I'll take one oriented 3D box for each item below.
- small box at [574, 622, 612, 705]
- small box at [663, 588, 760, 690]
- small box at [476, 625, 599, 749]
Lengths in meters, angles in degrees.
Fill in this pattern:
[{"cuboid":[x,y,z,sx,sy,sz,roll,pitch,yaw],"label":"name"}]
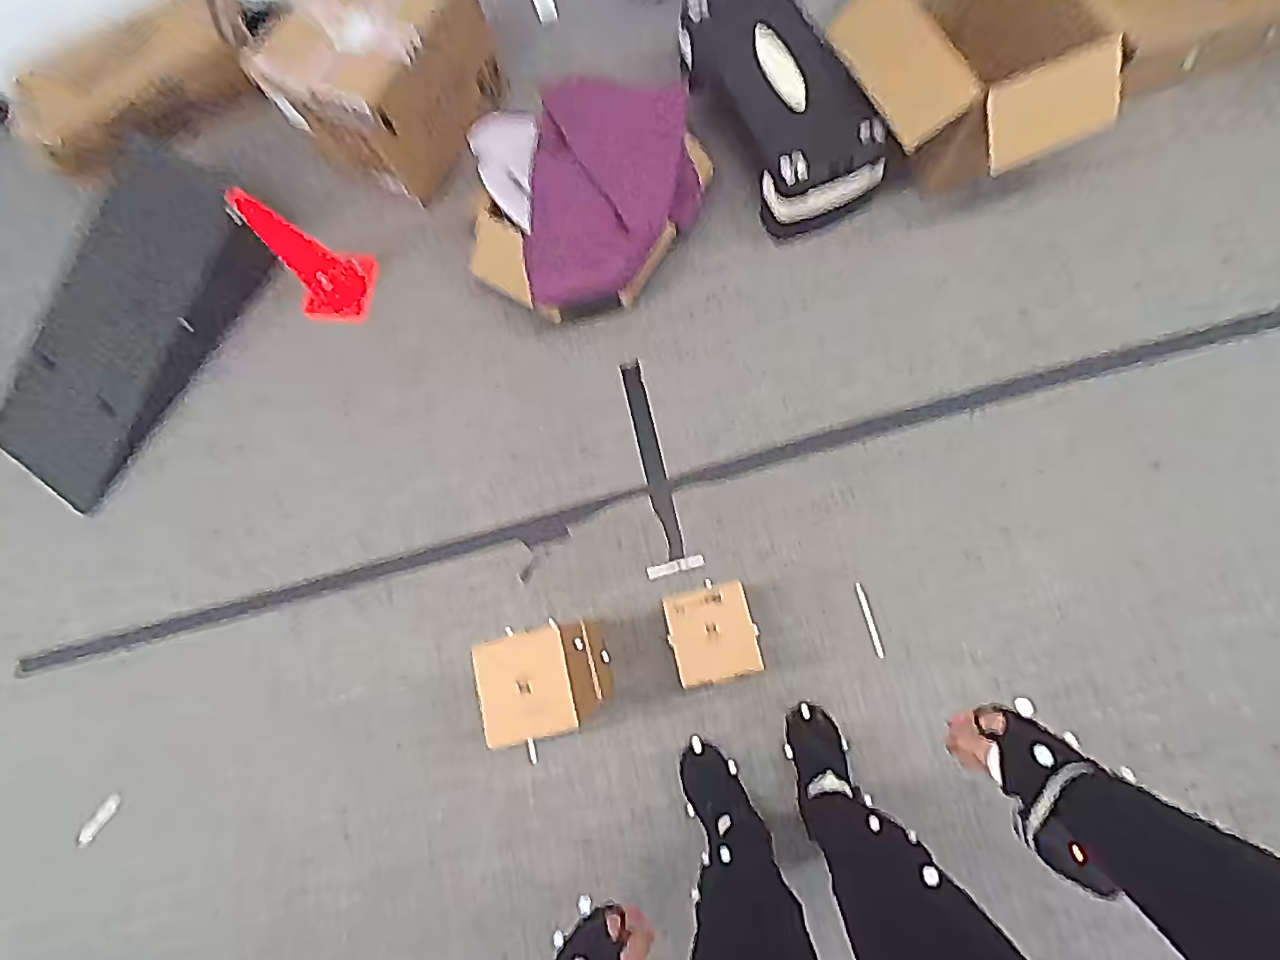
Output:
[{"cuboid":[-0.165,0.411,1.178,0.179,0.176,0.168,-17,75,4],"label":"small box"},{"cuboid":[0.152,0.333,1.158,0.168,0.176,0.179,-14,76,4],"label":"small box"},{"cuboid":[-0.187,0.379,1.020,0.168,0.176,0.179,-16,76,5],"label":"small box"}]
